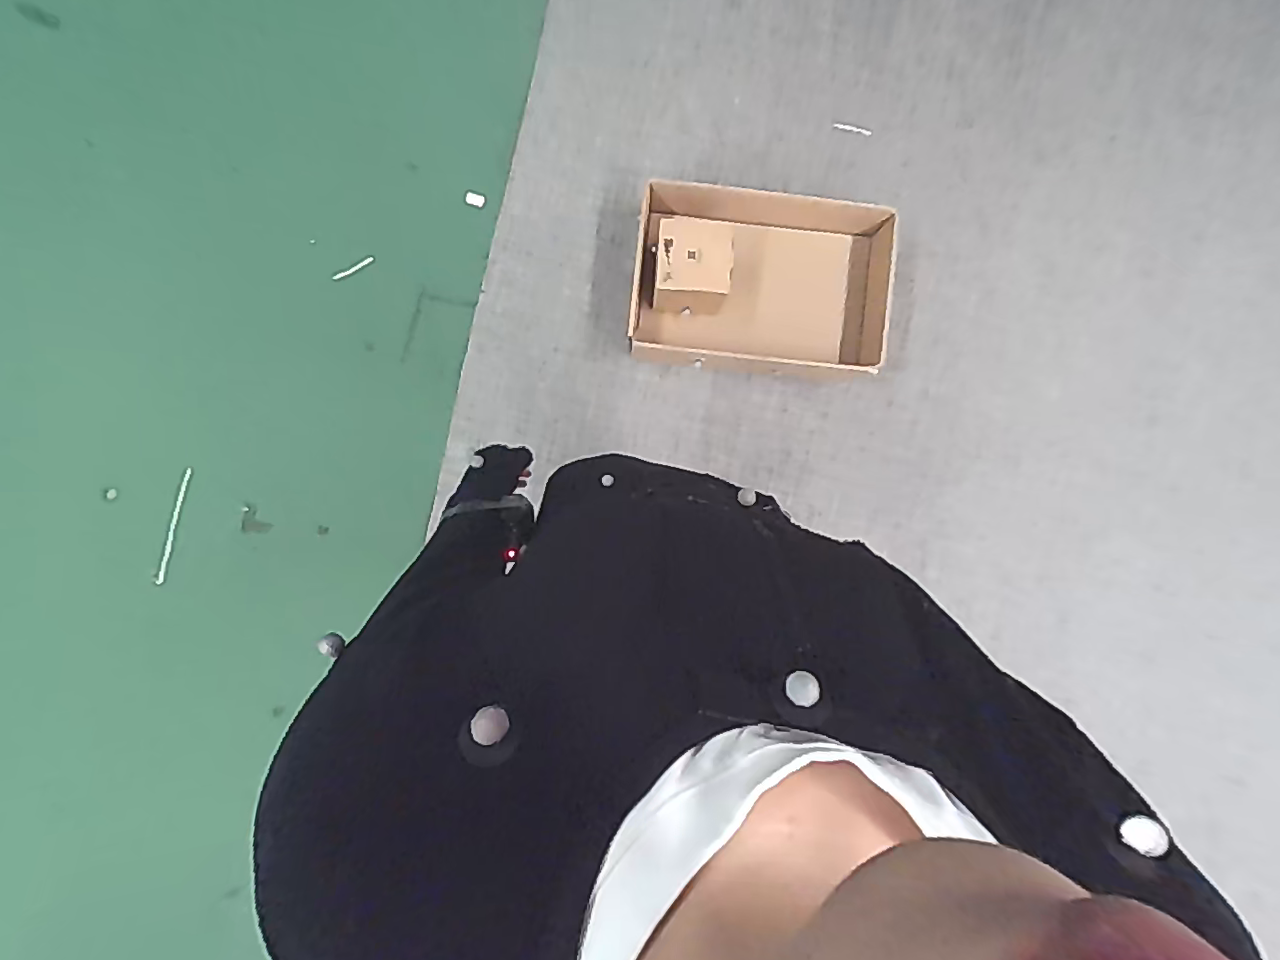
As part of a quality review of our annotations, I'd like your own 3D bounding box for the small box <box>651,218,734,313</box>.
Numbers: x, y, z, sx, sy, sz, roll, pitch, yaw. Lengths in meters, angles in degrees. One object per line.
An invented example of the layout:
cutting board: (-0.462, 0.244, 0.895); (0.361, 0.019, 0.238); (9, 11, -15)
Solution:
small box: (0.125, -0.522, 1.338); (0.179, 0.176, 0.168); (4, 90, -3)
